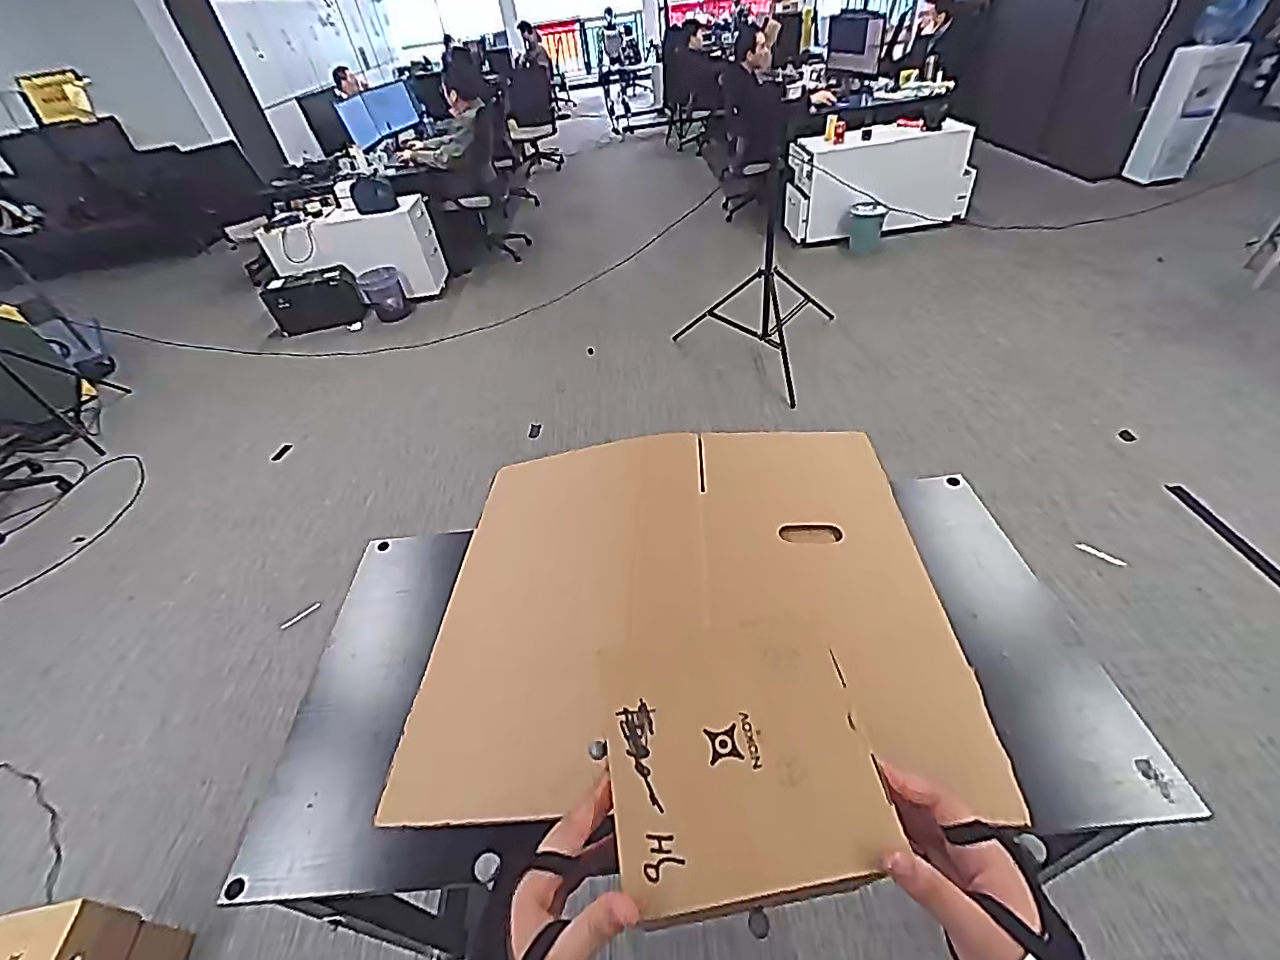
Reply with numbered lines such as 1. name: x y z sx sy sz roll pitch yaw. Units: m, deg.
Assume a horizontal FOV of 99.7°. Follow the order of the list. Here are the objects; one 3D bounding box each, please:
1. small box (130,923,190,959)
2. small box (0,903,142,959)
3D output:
1. small box: -1.119 1.083 1.152 0.168 0.176 0.179 -10 42 -1
2. small box: -1.139 0.959 1.048 0.168 0.176 0.179 -11 41 -3
